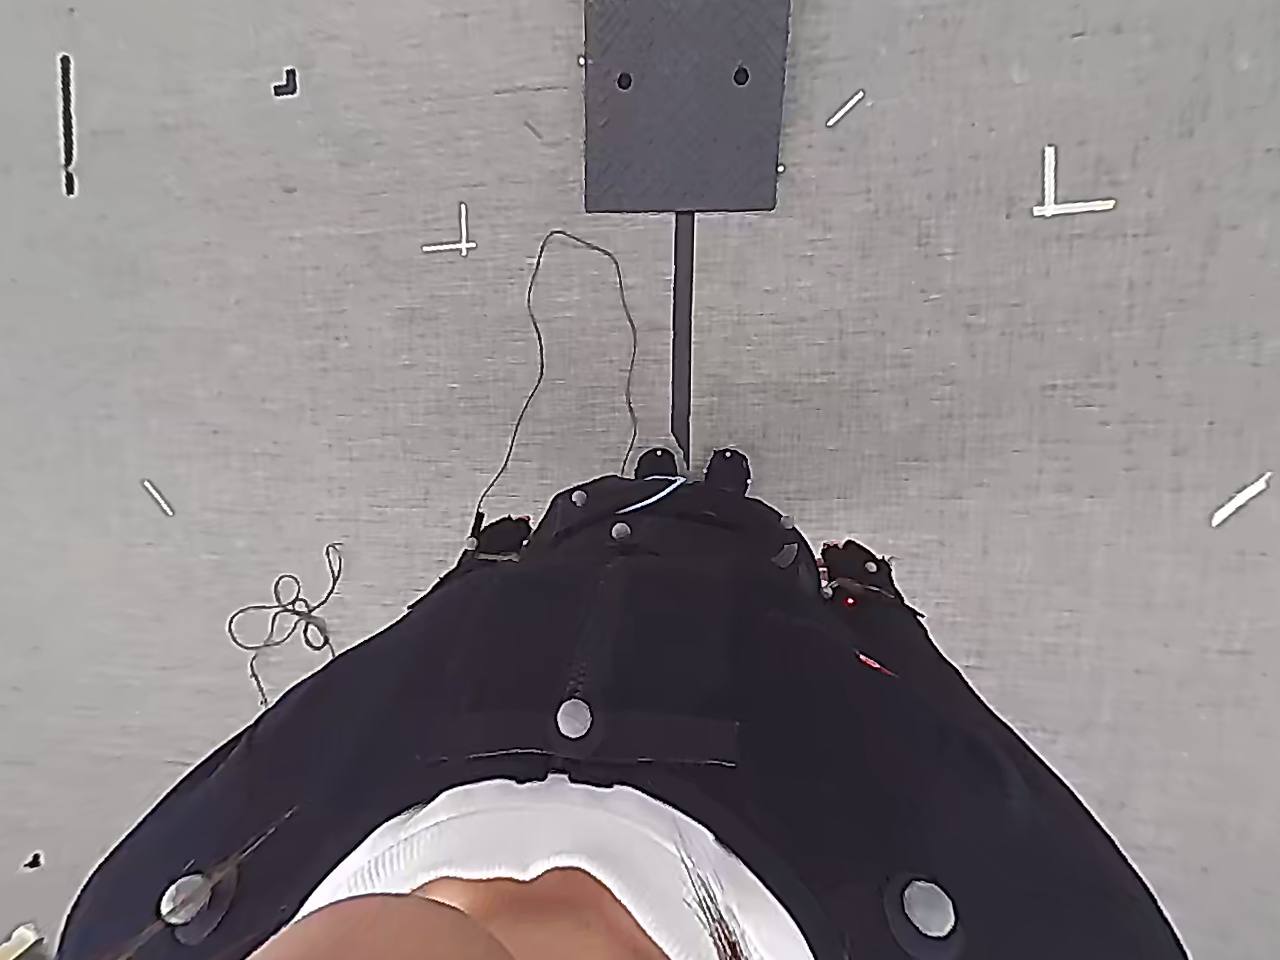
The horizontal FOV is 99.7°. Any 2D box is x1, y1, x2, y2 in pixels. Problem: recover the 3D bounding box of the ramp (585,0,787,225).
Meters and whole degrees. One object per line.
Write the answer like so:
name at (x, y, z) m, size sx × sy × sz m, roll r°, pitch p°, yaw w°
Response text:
ramp at (0.109, -1.164, 1.304) m, size 0.509 × 0.206 × 0.991 m, roll 0°, pitch 93°, yaw 7°
